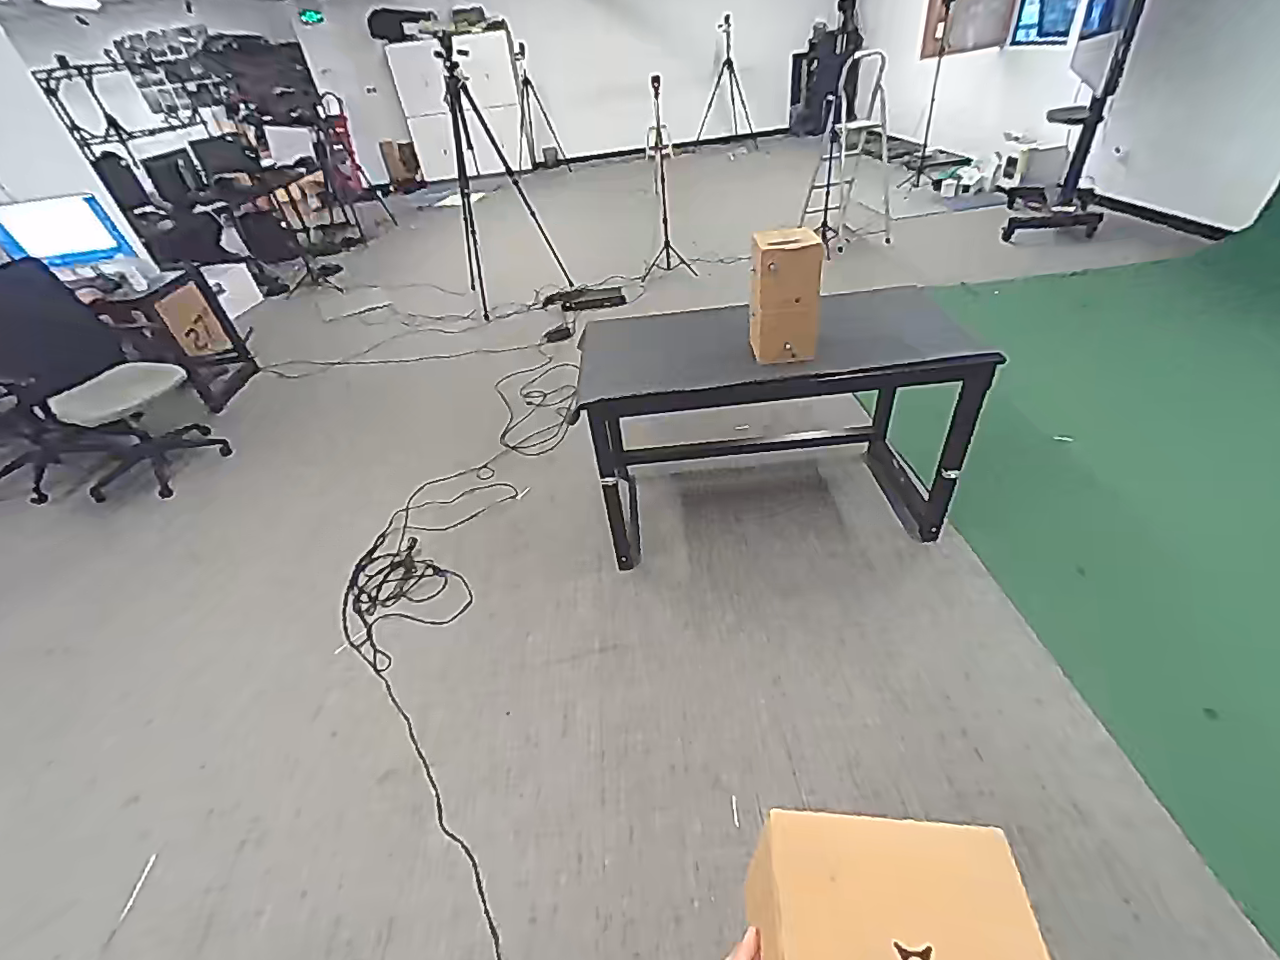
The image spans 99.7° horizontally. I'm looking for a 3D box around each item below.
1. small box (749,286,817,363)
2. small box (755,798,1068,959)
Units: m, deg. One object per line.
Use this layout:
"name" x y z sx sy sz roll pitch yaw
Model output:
"small box" 0.426 -0.470 1.638 0.168 0.176 0.179 -6 38 4
"small box" 0.176 0.353 0.374 0.168 0.176 0.179 2 40 5
